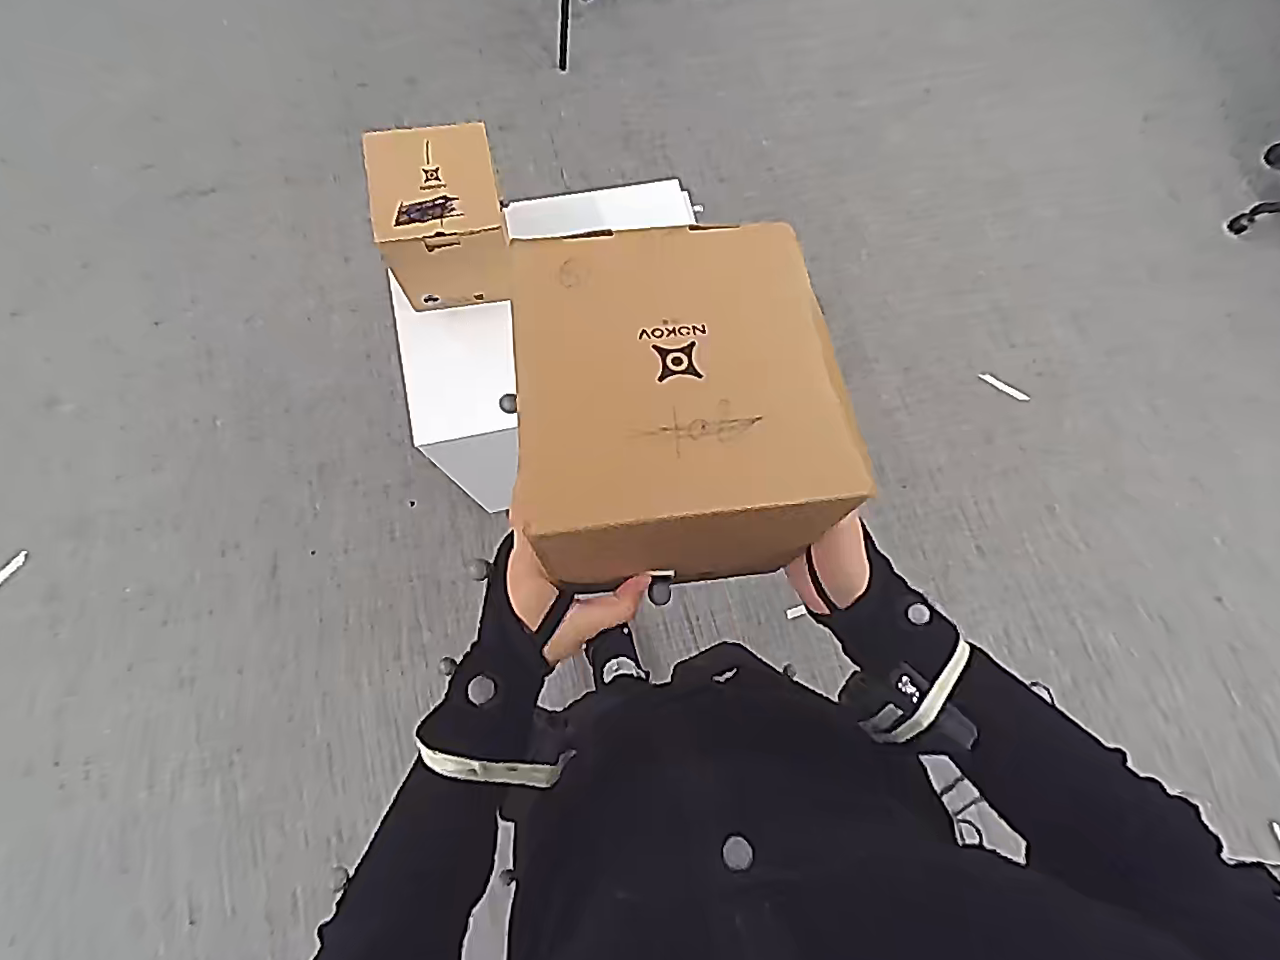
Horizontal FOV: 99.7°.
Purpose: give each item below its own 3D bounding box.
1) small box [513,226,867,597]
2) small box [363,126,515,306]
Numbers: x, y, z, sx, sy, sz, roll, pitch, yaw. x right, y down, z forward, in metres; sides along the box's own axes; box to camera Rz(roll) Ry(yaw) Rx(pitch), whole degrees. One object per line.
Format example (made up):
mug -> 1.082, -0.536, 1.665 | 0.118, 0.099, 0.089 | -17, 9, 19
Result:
small box -> 0.013, -0.033, 0.352 | 0.168, 0.176, 0.179 | -6, 69, -5
small box -> -0.283, -0.375, 0.797 | 0.168, 0.176, 0.179 | -10, 77, -8
